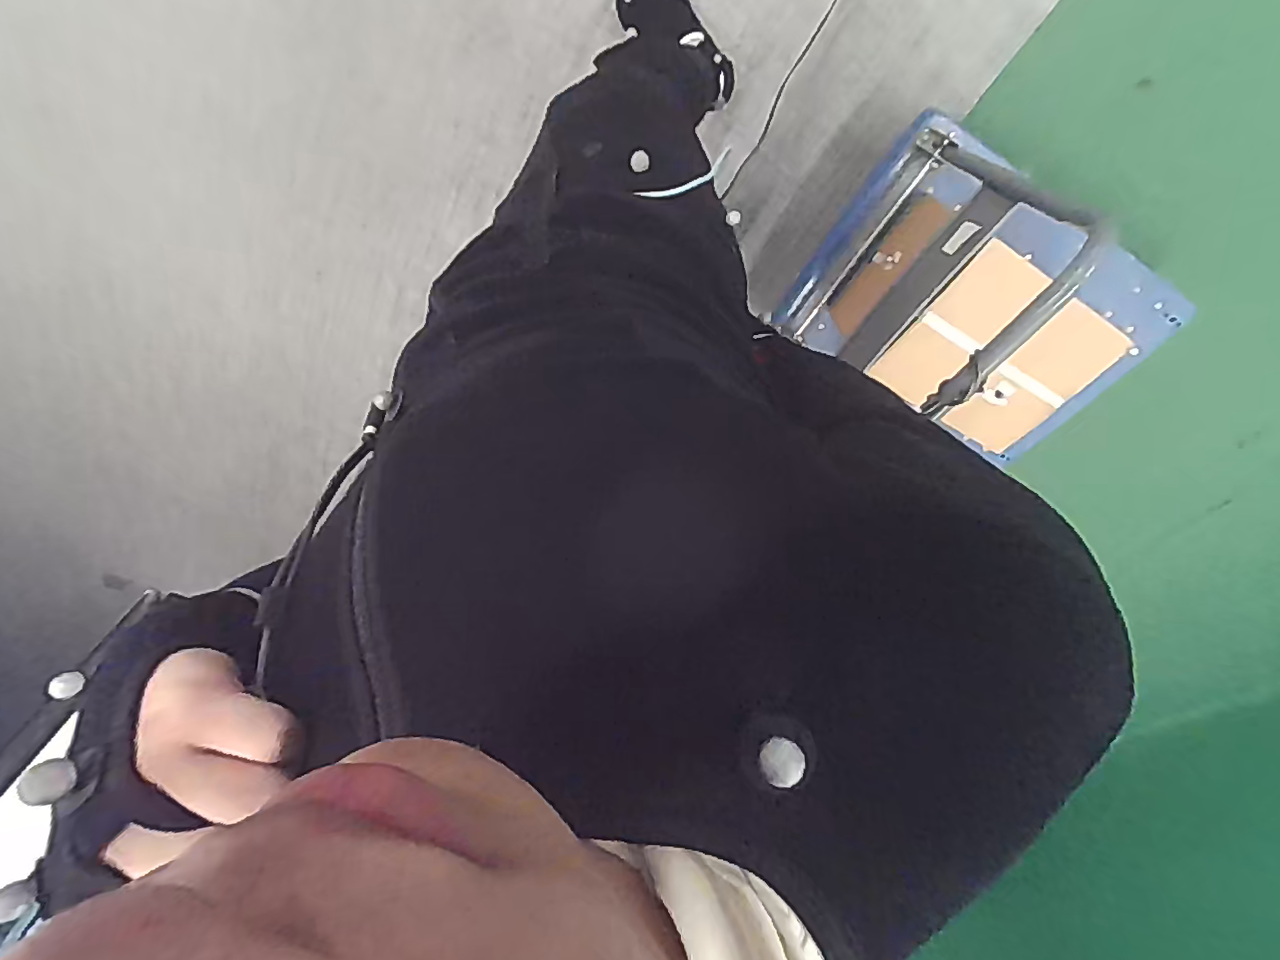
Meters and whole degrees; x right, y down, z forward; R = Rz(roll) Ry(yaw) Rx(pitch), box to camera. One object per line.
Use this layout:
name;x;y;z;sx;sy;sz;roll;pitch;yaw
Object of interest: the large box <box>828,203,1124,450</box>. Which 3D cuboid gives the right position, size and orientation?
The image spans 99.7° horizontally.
large box;0.701;-0.337;1.196;0.408;0.320;0.320;24;127;-17
